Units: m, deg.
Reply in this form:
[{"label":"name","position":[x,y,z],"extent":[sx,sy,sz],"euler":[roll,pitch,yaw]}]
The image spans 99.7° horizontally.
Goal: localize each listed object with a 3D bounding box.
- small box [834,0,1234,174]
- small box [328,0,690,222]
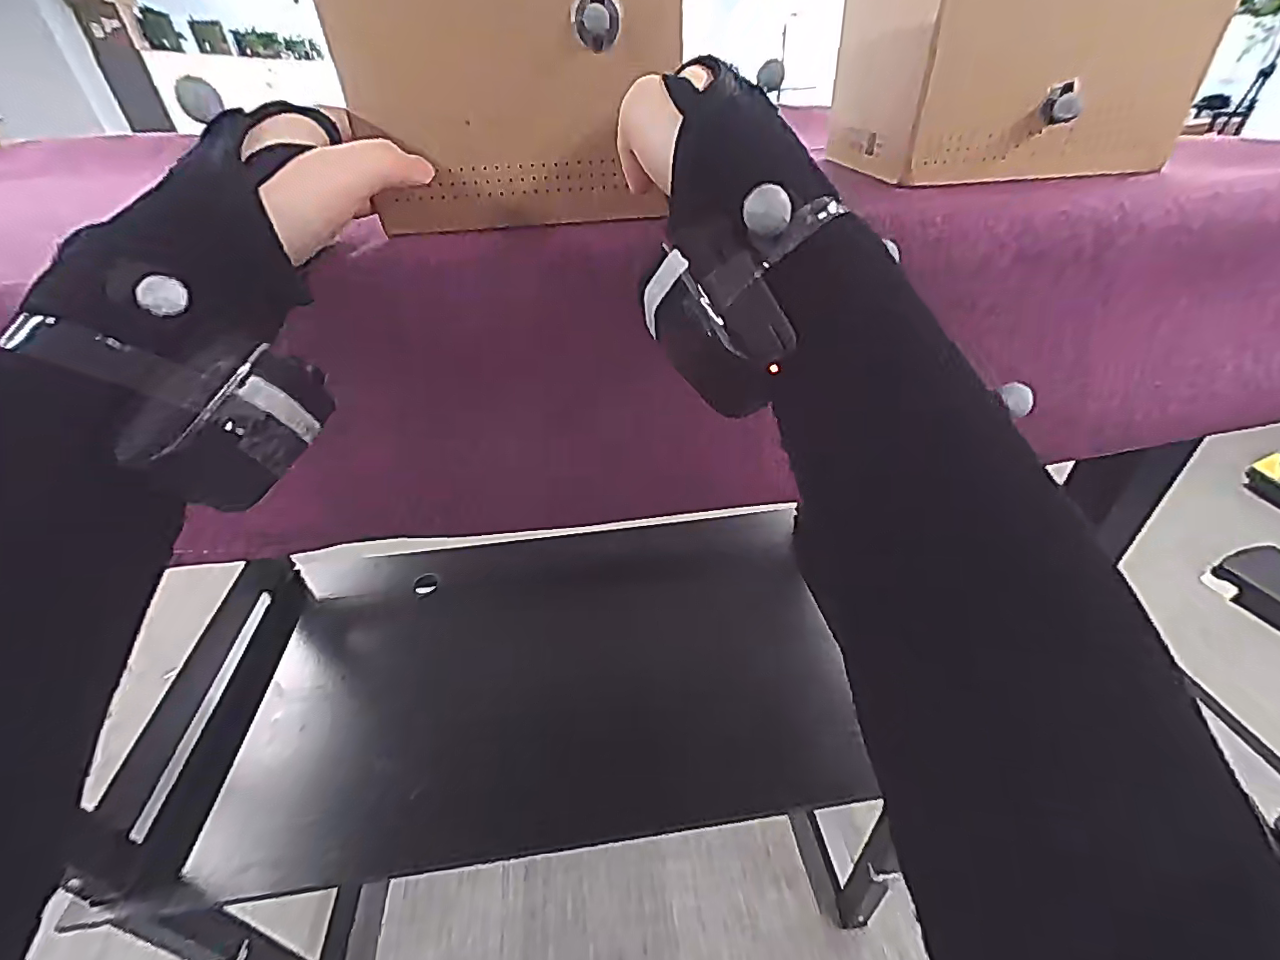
[{"label":"small box","position":[0.253,-0.316,0.367],"extent":[0.179,0.176,0.168],"euler":[-3,36,0]},{"label":"small box","position":[-0.065,-0.264,0.325],"extent":[0.179,0.176,0.168],"euler":[-6,35,-2]}]
